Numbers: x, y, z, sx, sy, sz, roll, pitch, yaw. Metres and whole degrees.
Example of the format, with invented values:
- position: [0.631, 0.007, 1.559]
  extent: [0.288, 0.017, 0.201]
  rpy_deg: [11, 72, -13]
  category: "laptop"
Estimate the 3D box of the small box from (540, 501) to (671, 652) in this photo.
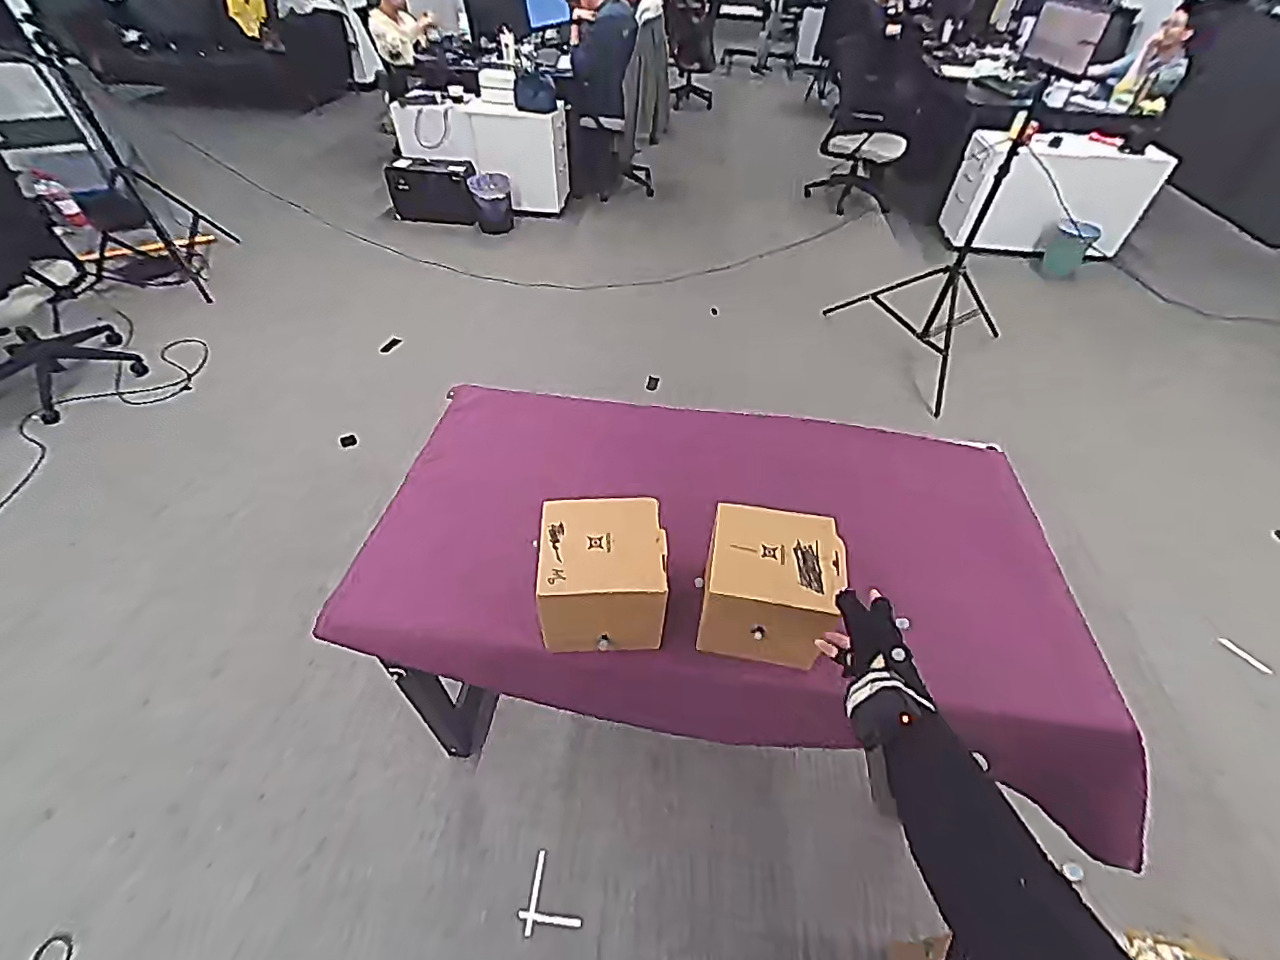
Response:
- position: [-0.054, 0.149, 0.826]
  extent: [0.179, 0.176, 0.168]
  rpy_deg: [0, 46, -5]
  category: "small box"

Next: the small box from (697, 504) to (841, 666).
- position: [0.190, 0.162, 0.822]
  extent: [0.179, 0.176, 0.168]
  rpy_deg: [8, 46, 7]
  category: "small box"
